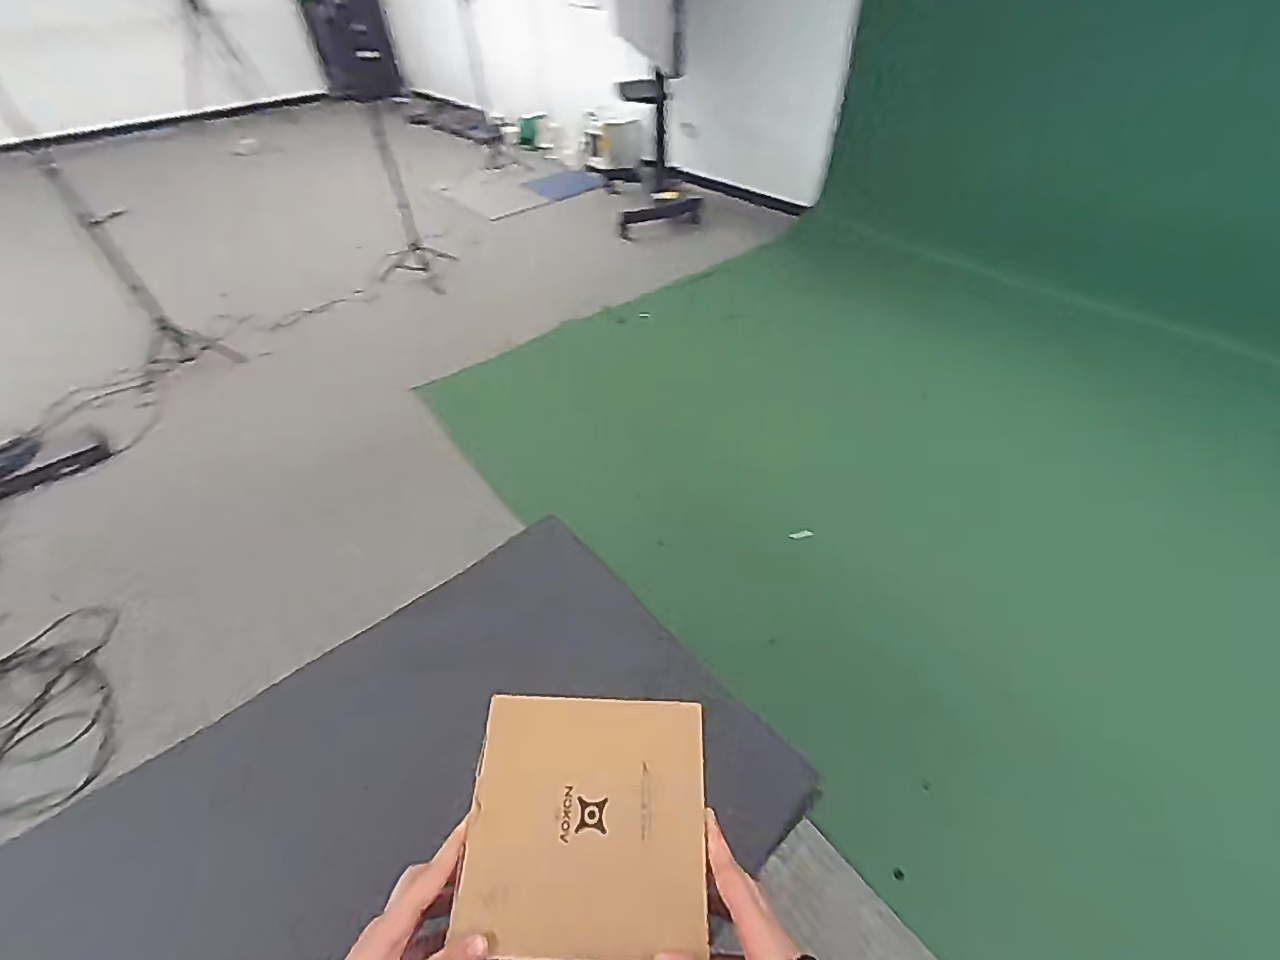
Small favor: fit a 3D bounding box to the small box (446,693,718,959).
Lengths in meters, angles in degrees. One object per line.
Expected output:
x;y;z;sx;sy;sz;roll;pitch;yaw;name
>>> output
-0.034;0.286;0.449;0.179;0.176;0.168;2;55;1;small box
